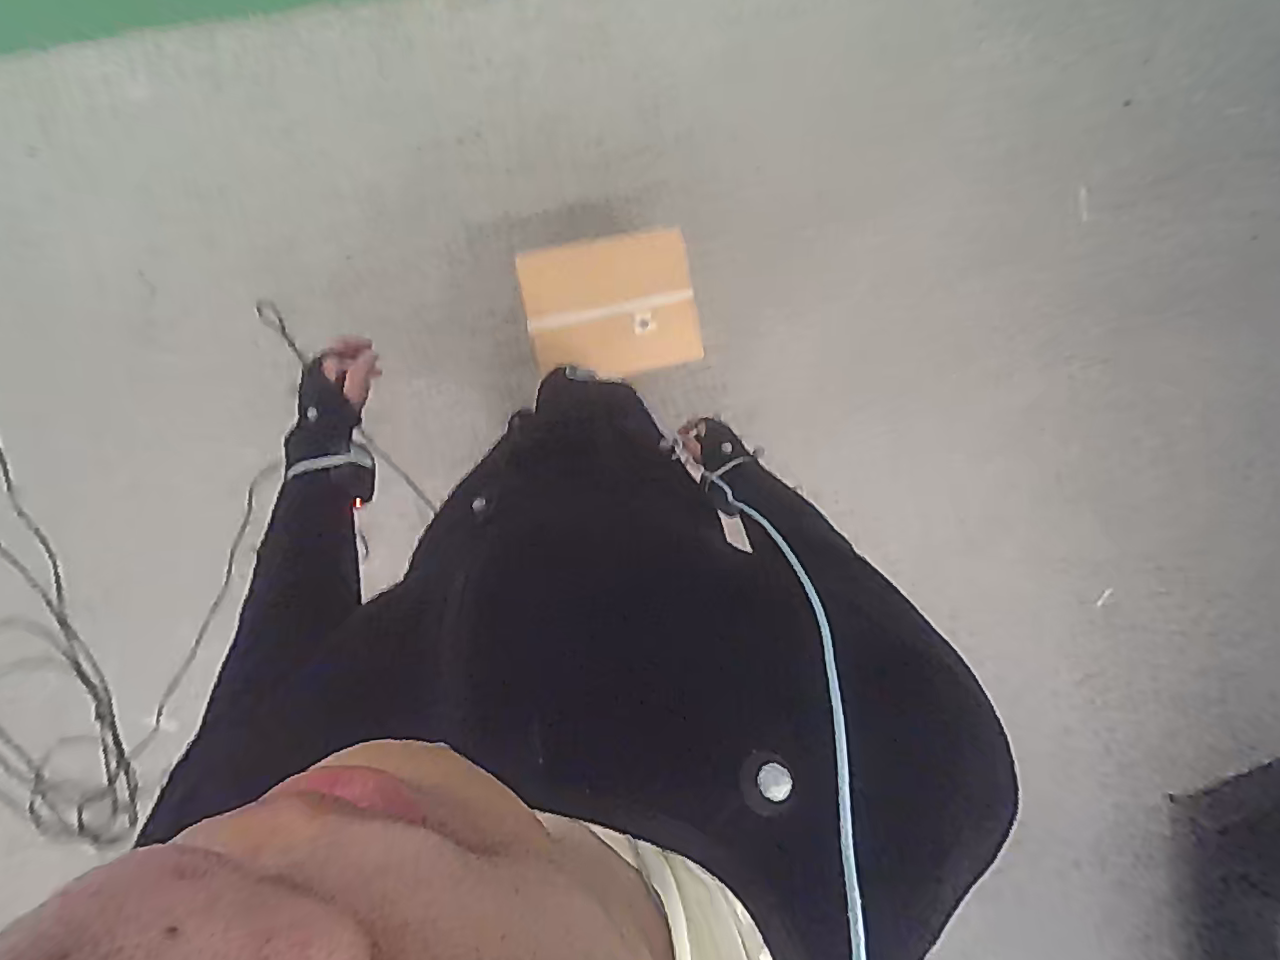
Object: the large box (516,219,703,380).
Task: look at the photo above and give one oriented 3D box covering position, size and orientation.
[{"bbox_3d":[-0.089,-0.453,1.423,0.408,0.320,0.320,-12,103,-9],"label":"large box"}]
